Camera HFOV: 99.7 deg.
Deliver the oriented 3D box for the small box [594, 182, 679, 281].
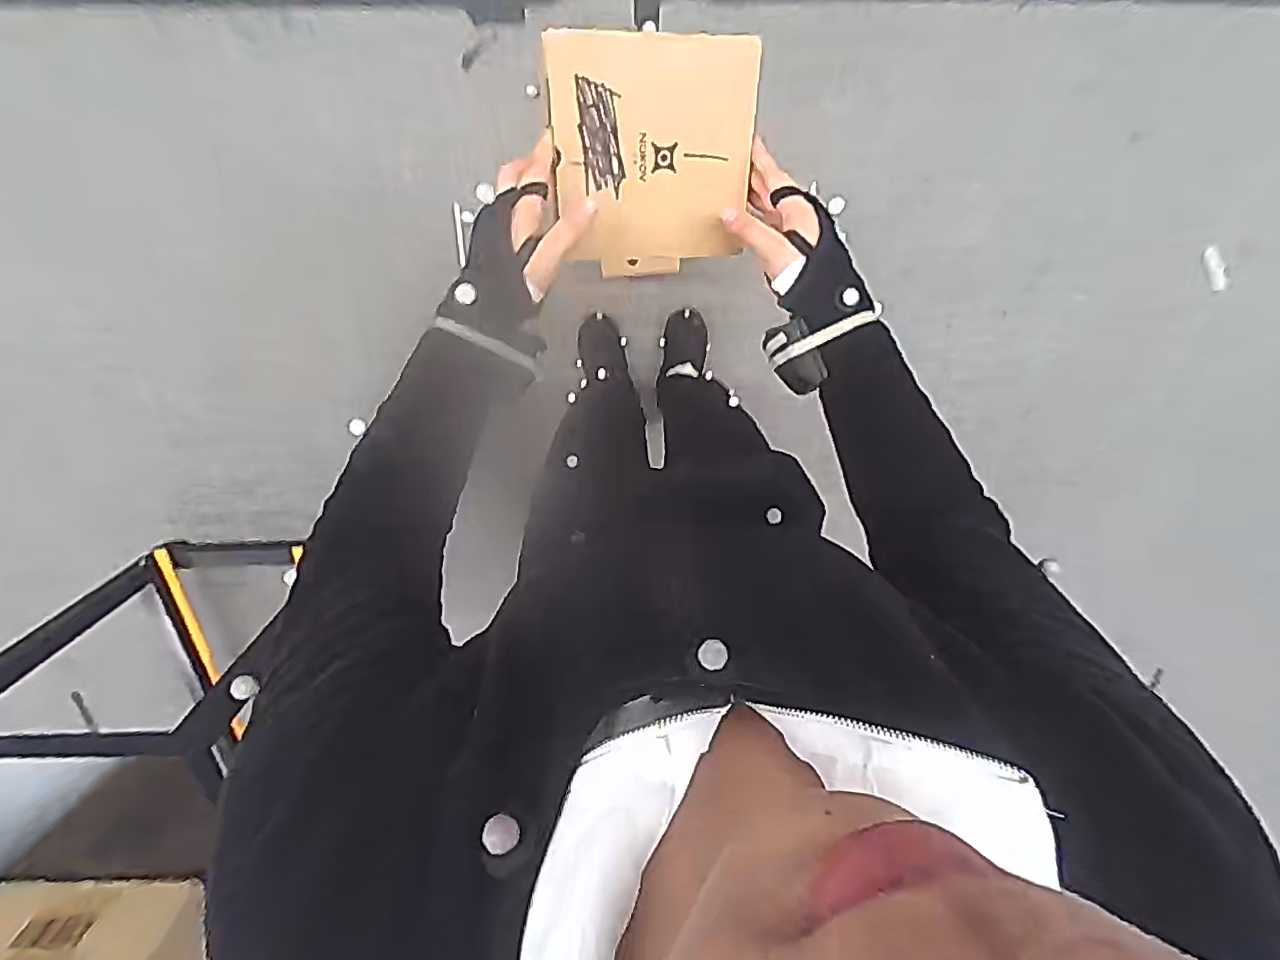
[{"bbox_3d":[-0.007,-0.534,1.168,0.168,0.176,0.179,-4,116,1],"label":"small box"}]
